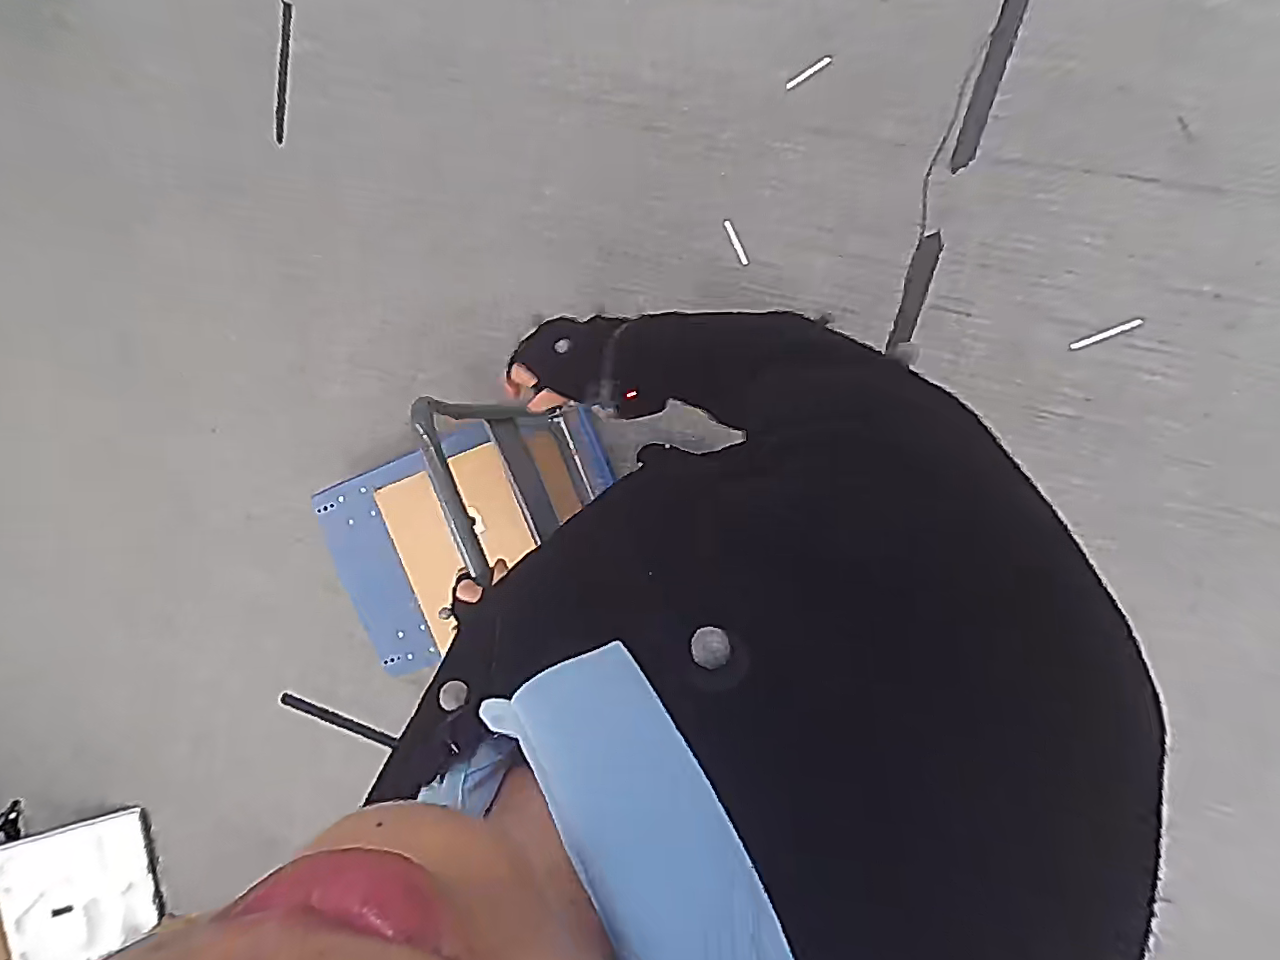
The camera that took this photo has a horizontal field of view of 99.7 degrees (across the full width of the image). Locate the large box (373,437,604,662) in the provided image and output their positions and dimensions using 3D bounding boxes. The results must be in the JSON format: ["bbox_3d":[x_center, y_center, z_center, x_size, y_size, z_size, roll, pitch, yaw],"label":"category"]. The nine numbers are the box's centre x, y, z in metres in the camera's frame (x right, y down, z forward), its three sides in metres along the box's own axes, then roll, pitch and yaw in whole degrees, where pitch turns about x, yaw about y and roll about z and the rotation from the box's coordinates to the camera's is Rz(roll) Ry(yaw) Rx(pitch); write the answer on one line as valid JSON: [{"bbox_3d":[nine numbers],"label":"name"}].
[{"bbox_3d":[-0.329,0.145,1.270,0.320,0.320,0.408,-20,93,14],"label":"large box"}]
